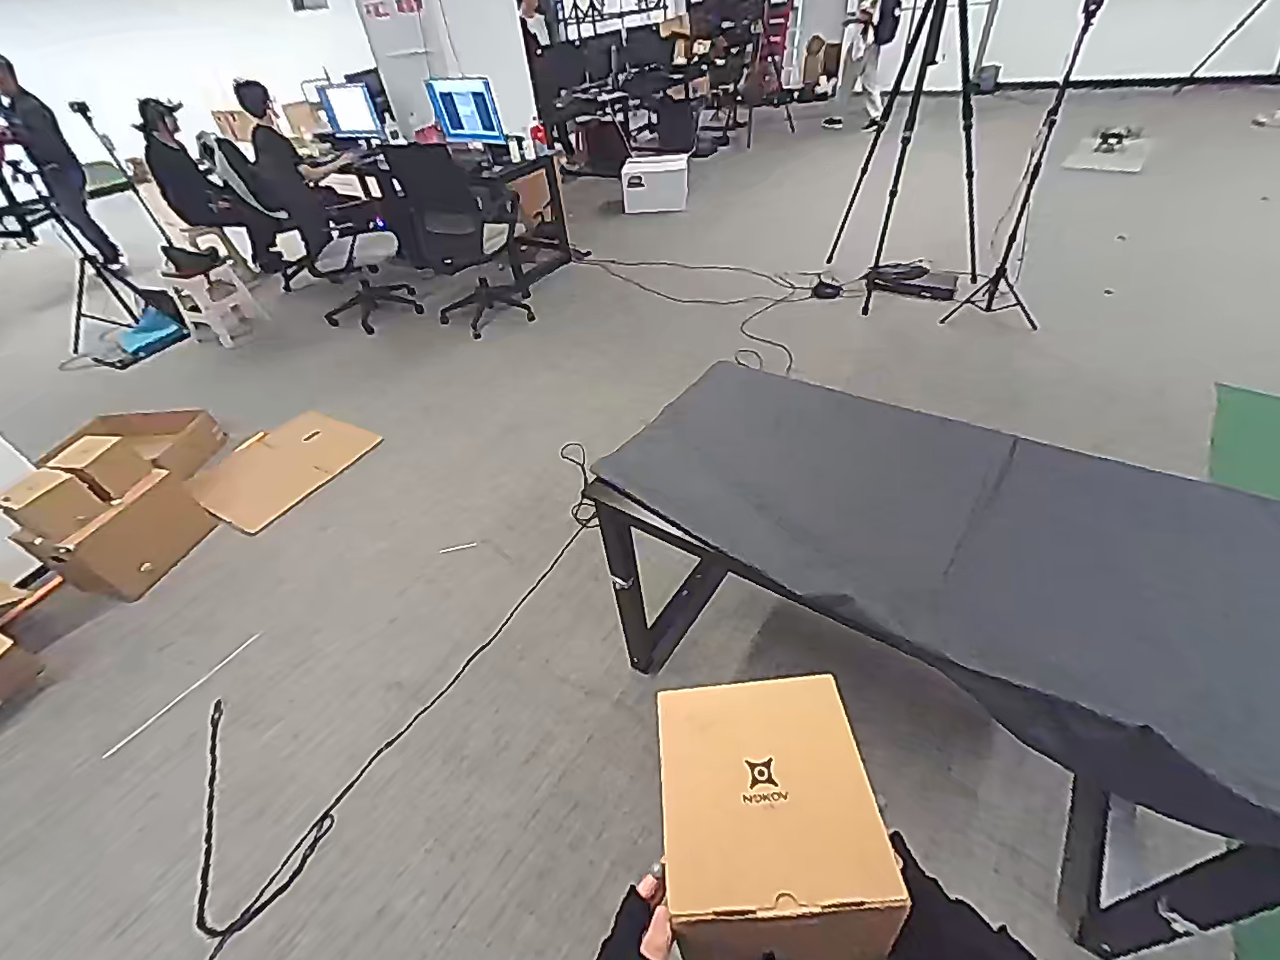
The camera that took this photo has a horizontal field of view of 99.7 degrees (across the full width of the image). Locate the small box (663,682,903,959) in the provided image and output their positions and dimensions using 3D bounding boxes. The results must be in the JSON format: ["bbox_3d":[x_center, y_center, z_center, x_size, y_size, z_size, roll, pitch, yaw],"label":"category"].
[{"bbox_3d":[0.112,0.315,0.494,0.168,0.176,0.179,-7,37,4],"label":"small box"}]
